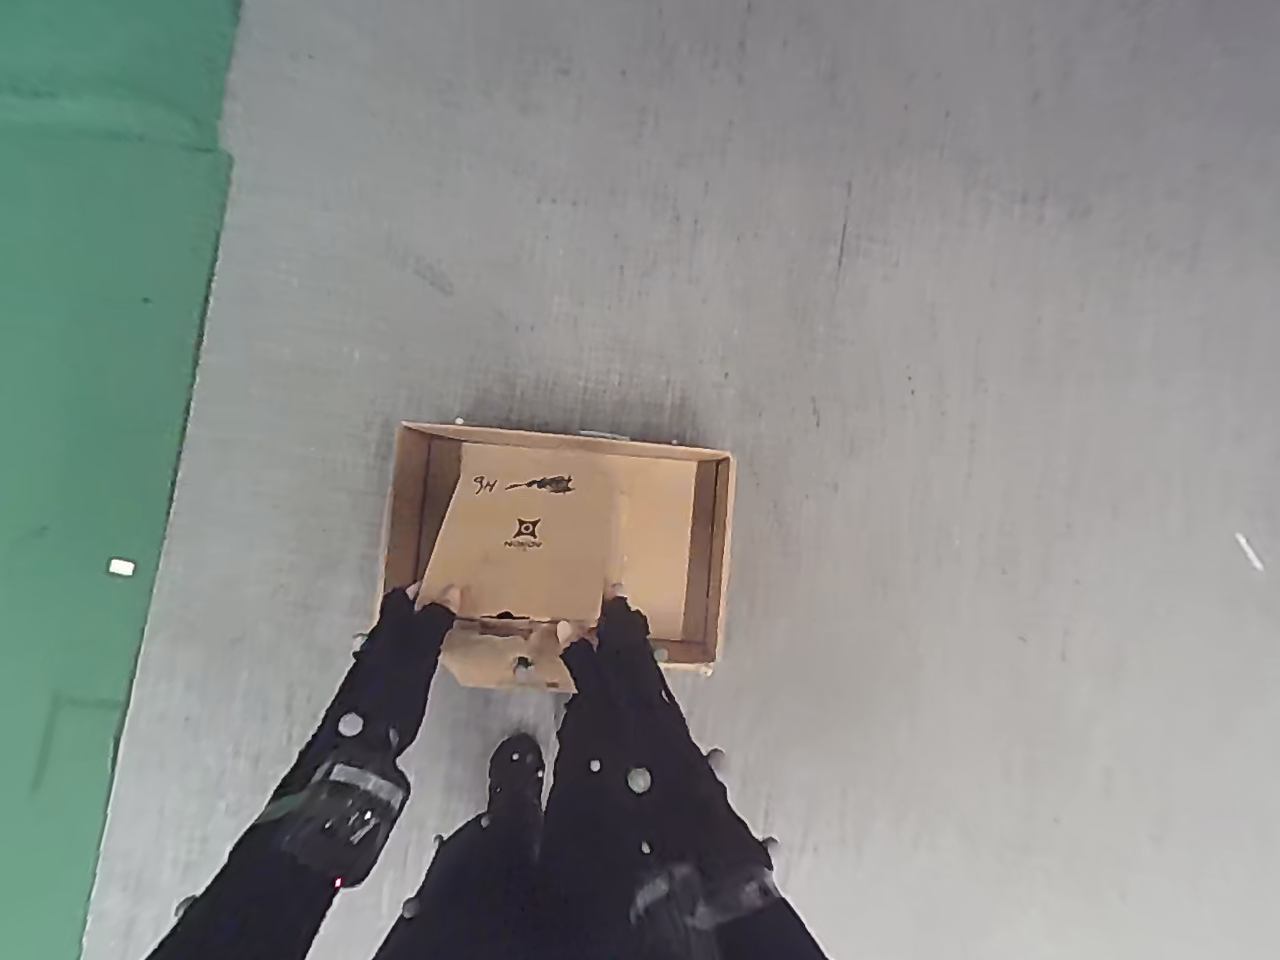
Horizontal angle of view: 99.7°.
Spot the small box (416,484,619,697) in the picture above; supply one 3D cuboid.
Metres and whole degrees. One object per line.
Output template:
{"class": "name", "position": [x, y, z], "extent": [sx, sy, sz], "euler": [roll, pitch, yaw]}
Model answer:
{"class": "small box", "position": [-0.112, 0.124, 0.589], "extent": [0.168, 0.176, 0.179], "euler": [-1, 49, 3]}

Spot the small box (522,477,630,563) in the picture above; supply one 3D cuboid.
{"class": "small box", "position": [-0.112, 0.103, 0.869], "extent": [0.168, 0.176, 0.179], "euler": [13, 85, -1]}
